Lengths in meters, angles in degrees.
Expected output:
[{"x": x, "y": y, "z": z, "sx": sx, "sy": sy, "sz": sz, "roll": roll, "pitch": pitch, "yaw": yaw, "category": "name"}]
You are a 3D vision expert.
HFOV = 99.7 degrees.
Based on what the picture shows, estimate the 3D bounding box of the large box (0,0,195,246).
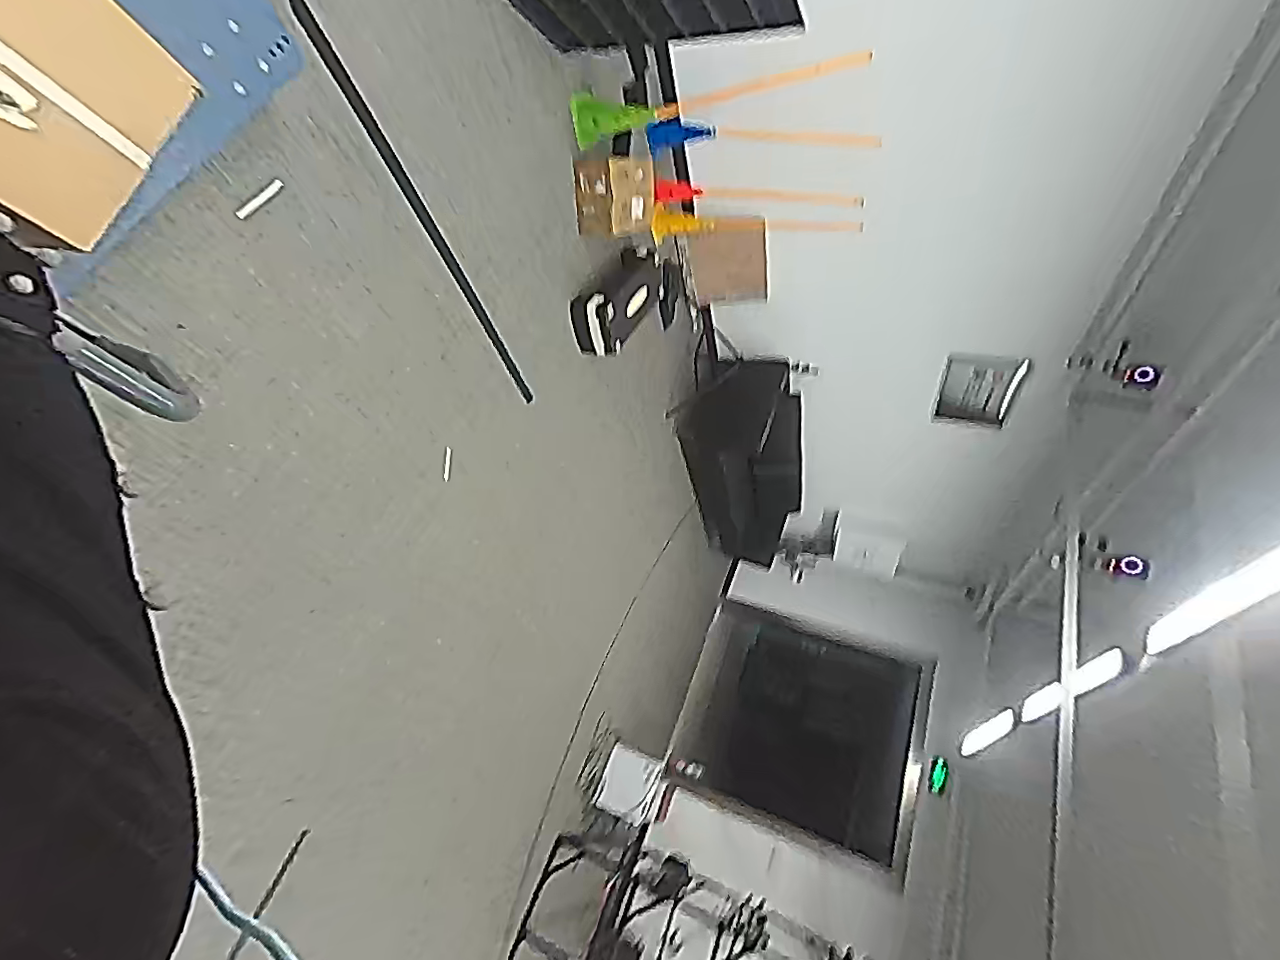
[{"x": -0.908, "y": -0.553, "z": 0.655, "sx": 0.408, "sy": 0.320, "sz": 0.320, "roll": 50, "pitch": 57, "yaw": -64, "category": "large box"}]
